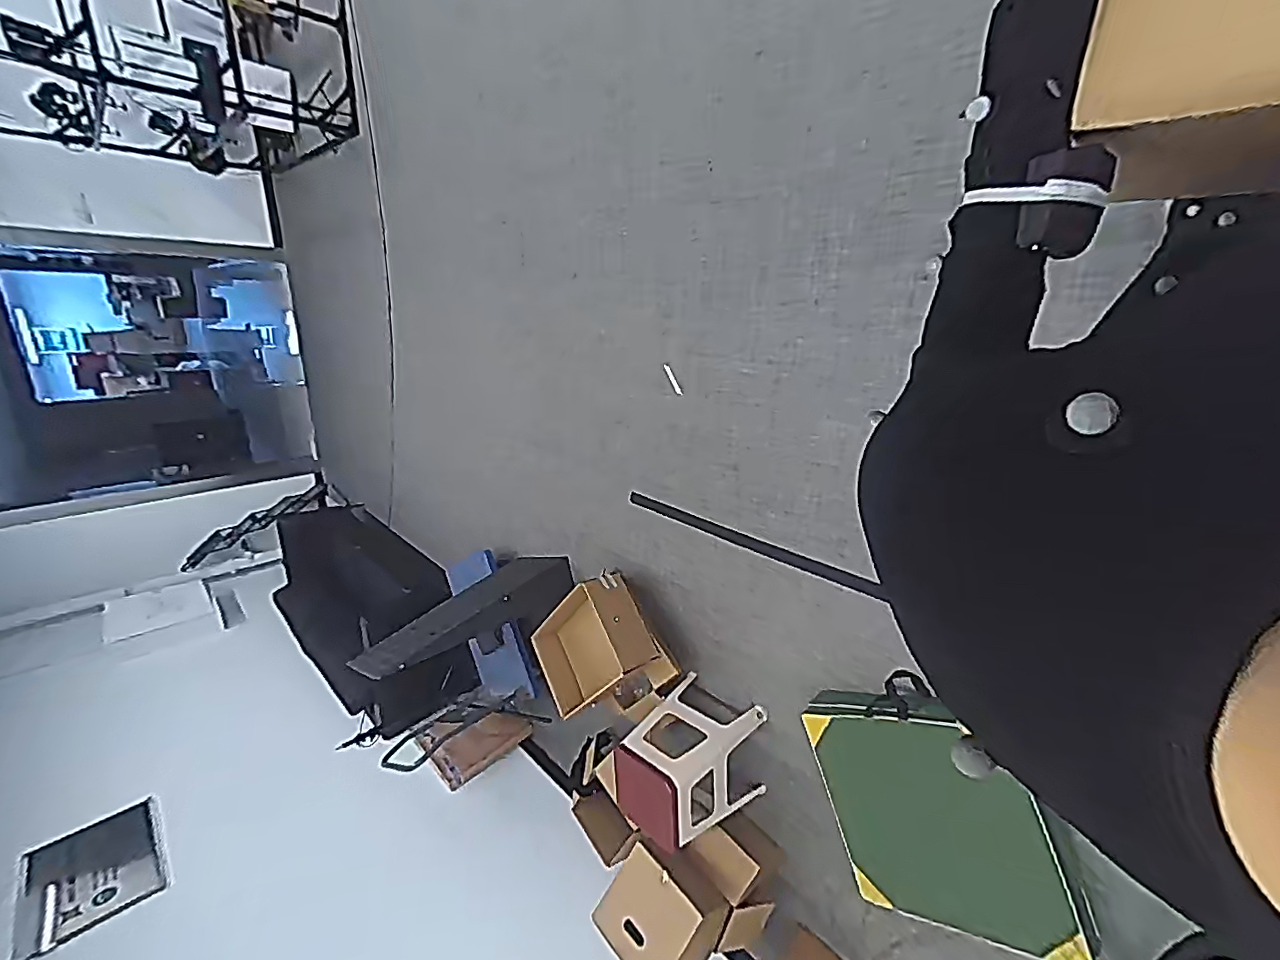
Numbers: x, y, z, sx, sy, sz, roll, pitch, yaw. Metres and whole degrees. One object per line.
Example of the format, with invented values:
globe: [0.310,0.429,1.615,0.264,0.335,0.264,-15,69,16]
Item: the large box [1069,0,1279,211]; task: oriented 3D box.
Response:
large box: [0.554,-0.374,0.330,0.408,0.320,0.320,16,113,38]
